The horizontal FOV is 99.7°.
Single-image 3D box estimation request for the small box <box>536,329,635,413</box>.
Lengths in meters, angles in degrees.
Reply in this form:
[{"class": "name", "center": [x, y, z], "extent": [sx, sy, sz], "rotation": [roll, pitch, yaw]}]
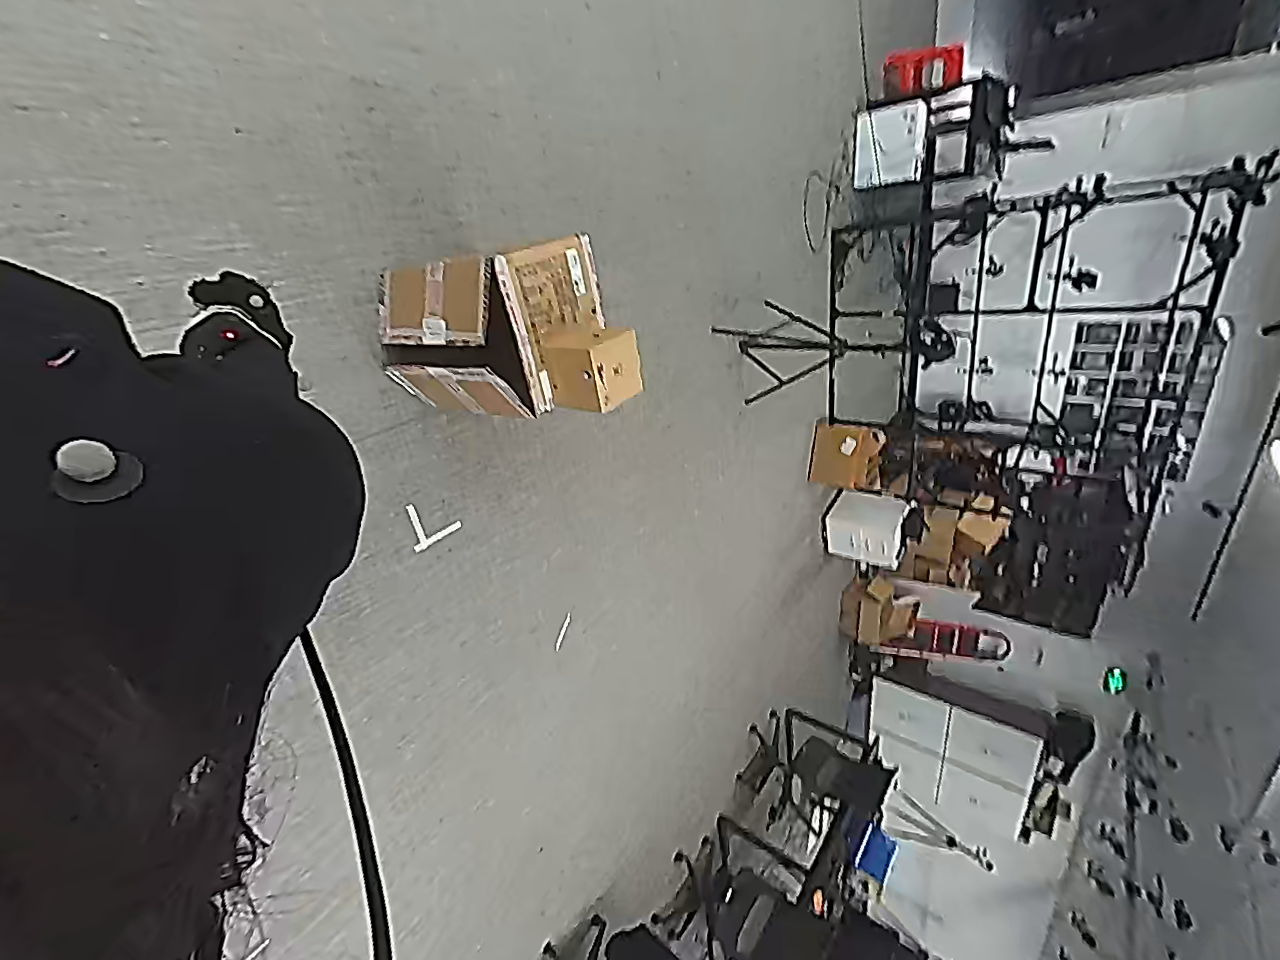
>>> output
[{"class": "small box", "center": [-0.136, -0.285, 1.377], "extent": [0.179, 0.176, 0.168], "rotation": [-39, 130, -43]}]
